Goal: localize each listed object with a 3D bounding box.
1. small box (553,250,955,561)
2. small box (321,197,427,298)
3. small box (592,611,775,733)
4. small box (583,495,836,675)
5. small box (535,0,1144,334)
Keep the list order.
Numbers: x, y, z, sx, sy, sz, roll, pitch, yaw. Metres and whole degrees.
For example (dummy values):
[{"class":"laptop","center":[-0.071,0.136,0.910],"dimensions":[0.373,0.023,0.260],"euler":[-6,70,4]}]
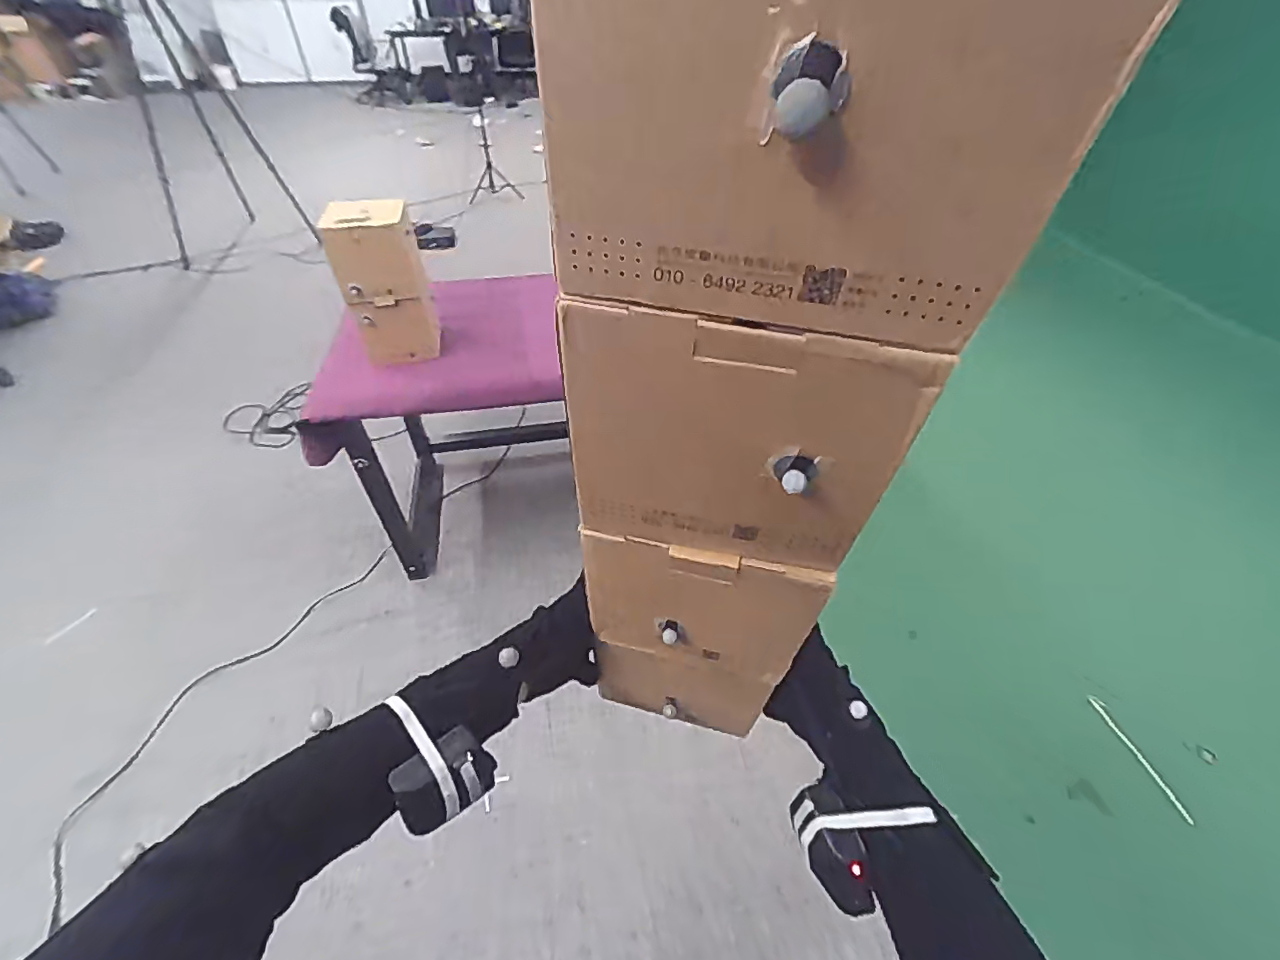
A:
[{"class":"small box","center":[0.059,-0.073,0.330],"dimensions":[0.168,0.176,0.179],"euler":[10,51,6]},{"class":"small box","center":[-0.598,-0.531,1.240],"dimensions":[0.168,0.176,0.179],"euler":[-5,45,-9]},{"class":"small box","center":[0.055,0.140,0.577],"dimensions":[0.168,0.176,0.179],"euler":[12,51,9]},{"class":"small box","center":[0.057,0.035,0.453],"dimensions":[0.168,0.176,0.179],"euler":[11,52,8]},{"class":"small box","center":[0.065,-0.179,0.205],"dimensions":[0.168,0.176,0.179],"euler":[11,52,6]}]
